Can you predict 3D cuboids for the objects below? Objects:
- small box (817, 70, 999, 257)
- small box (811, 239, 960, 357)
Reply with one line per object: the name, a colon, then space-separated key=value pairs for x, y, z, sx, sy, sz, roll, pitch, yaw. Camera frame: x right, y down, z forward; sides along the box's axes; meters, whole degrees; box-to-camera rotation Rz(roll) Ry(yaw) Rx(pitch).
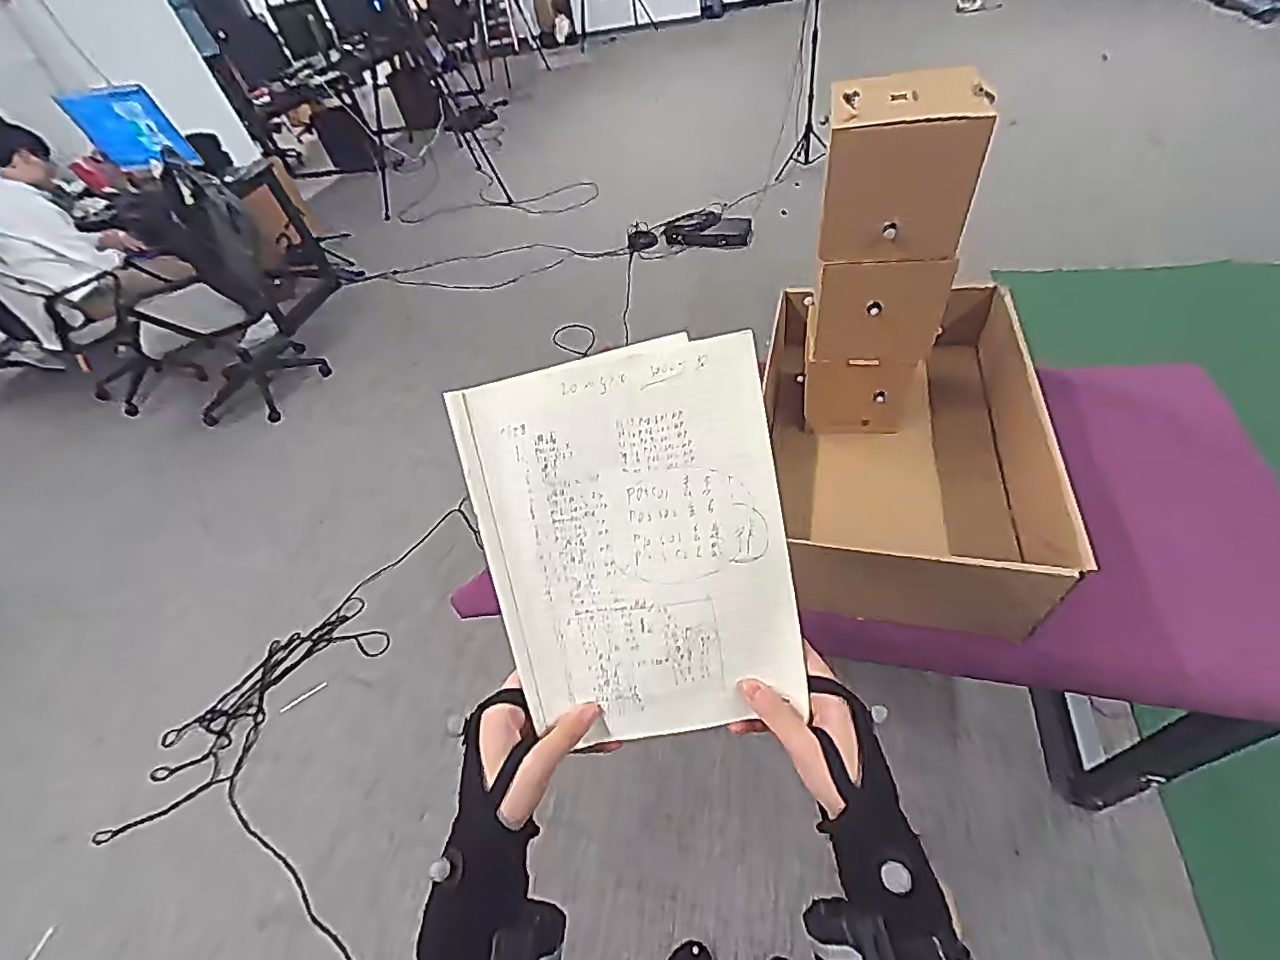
small box: x=0.341 y=-0.414 z=0.721 sx=0.179 sy=0.176 sz=0.168 roll=6 pitch=51 yaw=15
small box: x=0.367 y=-0.306 z=0.842 sx=0.179 sy=0.176 sz=0.168 roll=3 pitch=51 yaw=14
